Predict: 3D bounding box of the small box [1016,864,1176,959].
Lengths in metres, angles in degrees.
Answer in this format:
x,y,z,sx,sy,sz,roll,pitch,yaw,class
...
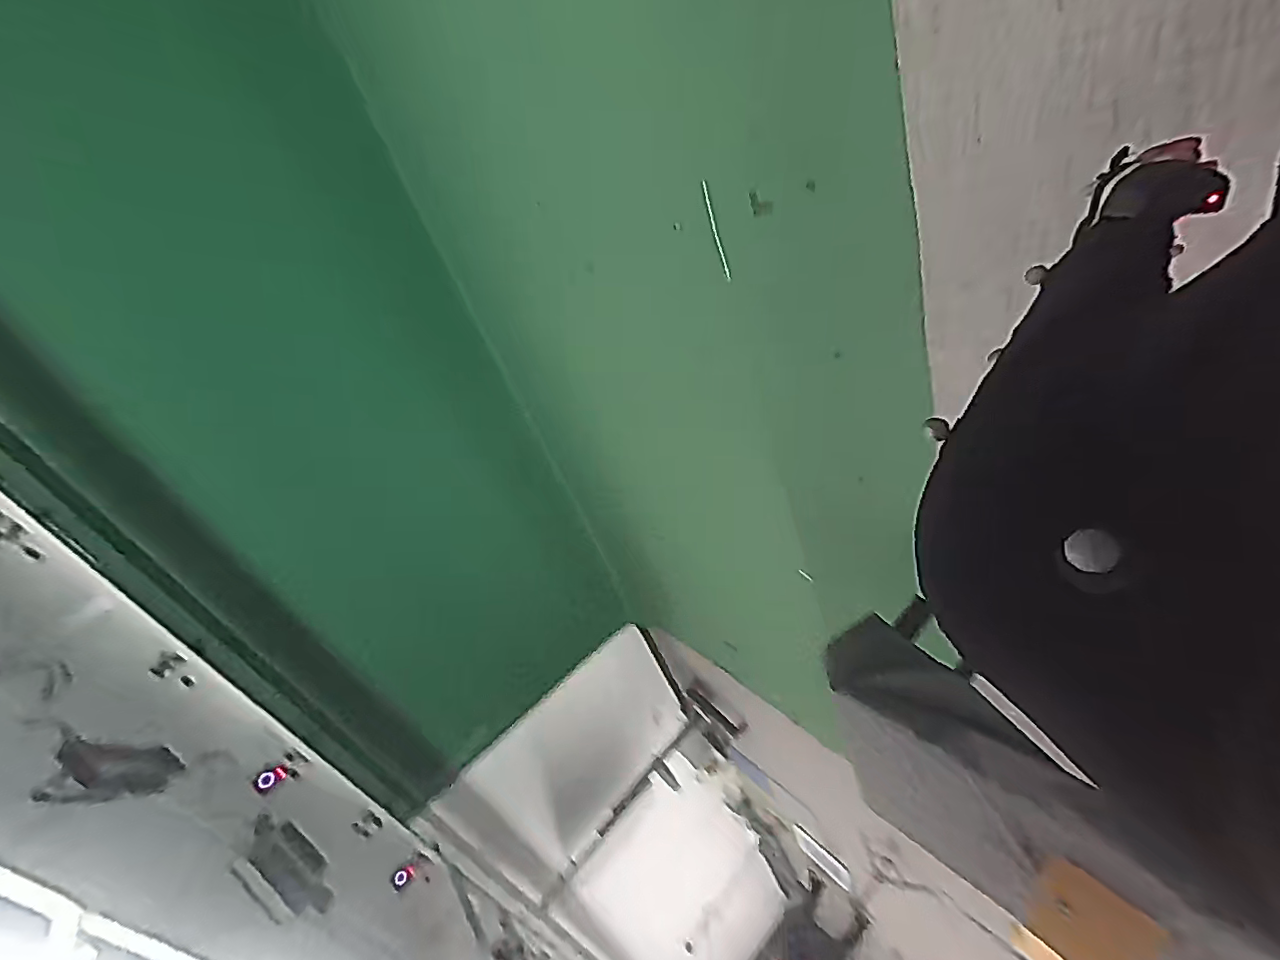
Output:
x,y,z,sx,sy,sz,roll,pitch,yaw,class
0.869,0.885,1.041,0.179,0.176,0.168,27,148,45,small box
